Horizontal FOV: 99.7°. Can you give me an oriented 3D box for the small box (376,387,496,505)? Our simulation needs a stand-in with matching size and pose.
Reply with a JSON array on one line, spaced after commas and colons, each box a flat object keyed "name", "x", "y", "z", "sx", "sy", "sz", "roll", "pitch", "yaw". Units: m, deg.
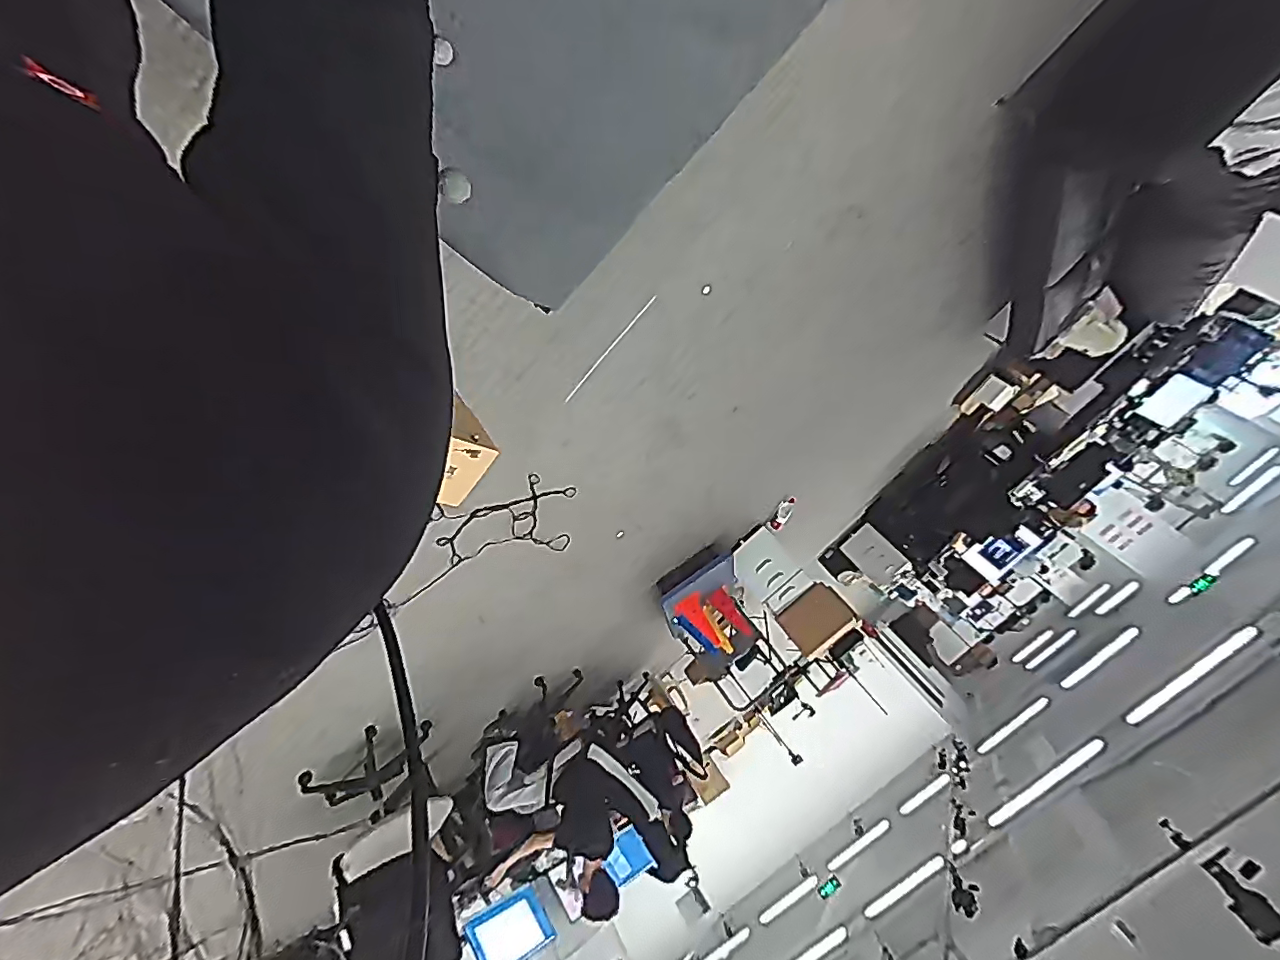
[{"name": "small box", "x": -0.463, "y": -0.074, "z": 1.210, "sx": 0.179, "sy": 0.176, "sz": 0.168, "roll": -47, "pitch": 149, "yaw": 14}]
